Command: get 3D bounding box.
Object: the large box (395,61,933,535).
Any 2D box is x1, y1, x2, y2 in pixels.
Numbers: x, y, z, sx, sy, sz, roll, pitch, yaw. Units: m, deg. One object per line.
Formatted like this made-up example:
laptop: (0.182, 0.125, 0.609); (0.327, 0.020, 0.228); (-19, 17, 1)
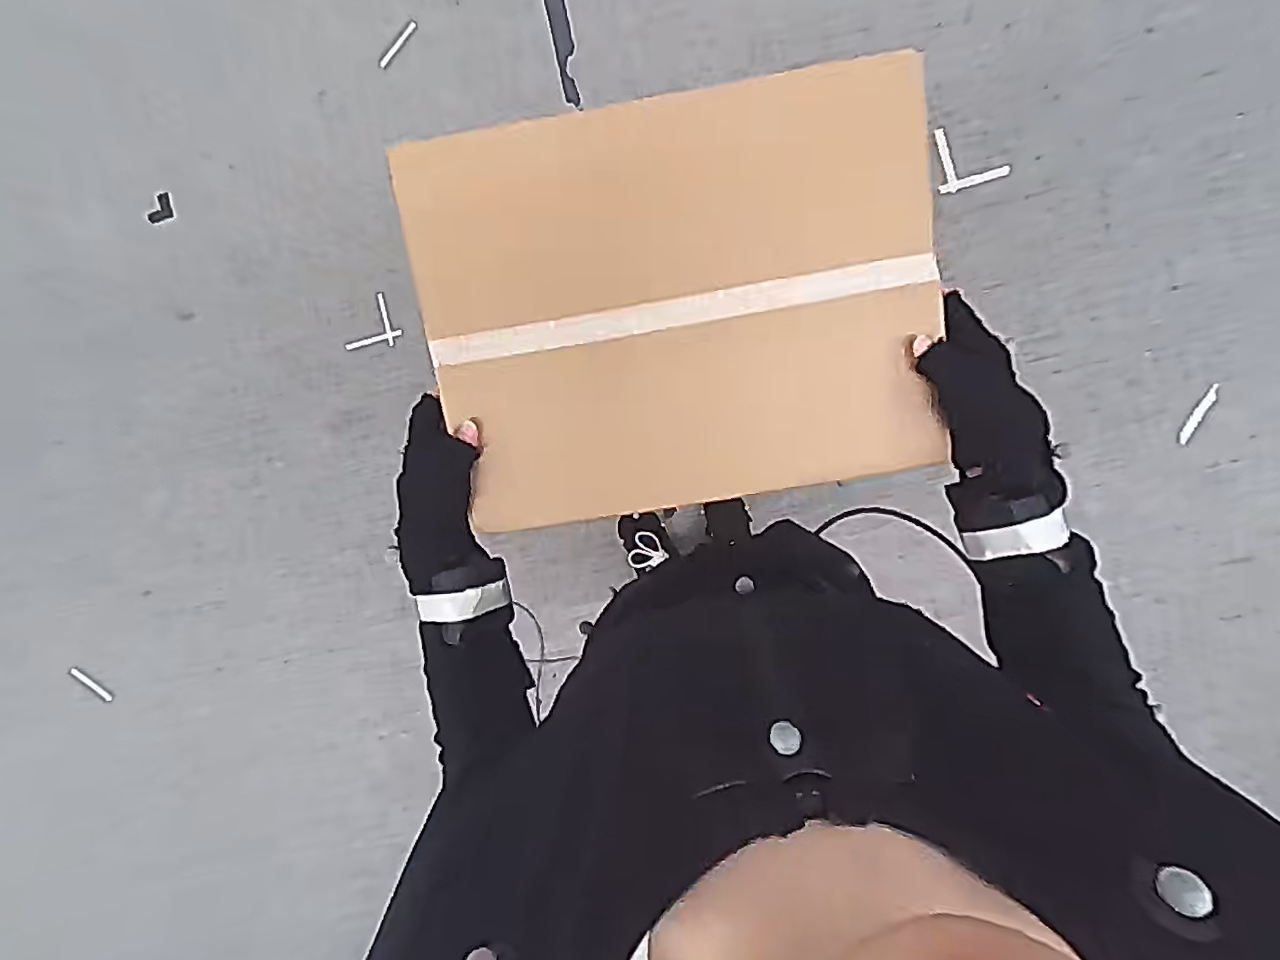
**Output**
large box: (0.031, -0.159, 0.584); (0.408, 0.320, 0.320); (-9, 99, 3)
